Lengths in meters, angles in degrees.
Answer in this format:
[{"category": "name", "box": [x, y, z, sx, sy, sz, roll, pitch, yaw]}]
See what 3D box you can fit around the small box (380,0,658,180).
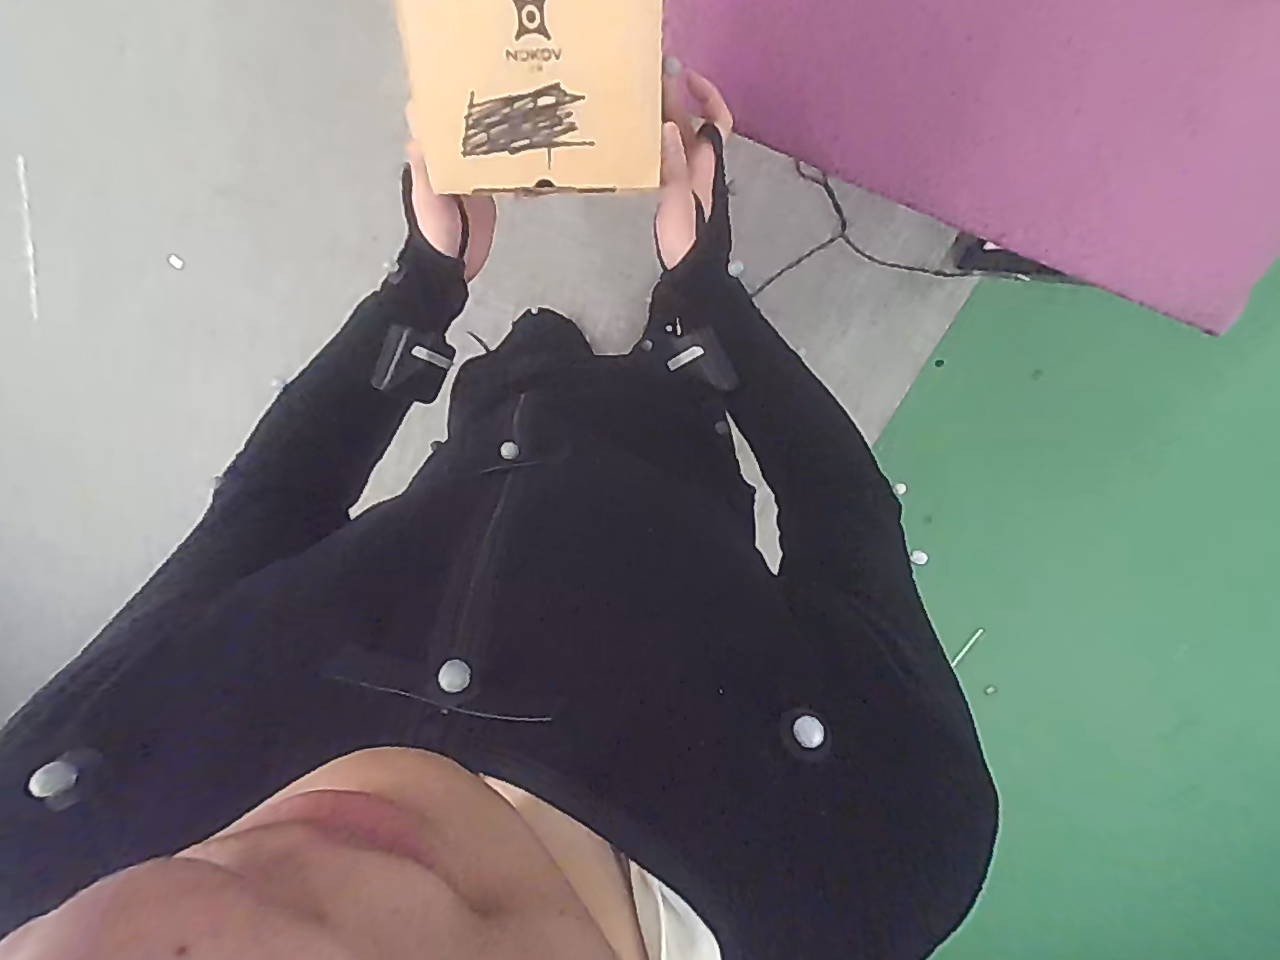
[{"category": "small box", "box": [-0.071, -0.323, 0.391, 0.168, 0.176, 0.179, 0, 122, 2]}]
